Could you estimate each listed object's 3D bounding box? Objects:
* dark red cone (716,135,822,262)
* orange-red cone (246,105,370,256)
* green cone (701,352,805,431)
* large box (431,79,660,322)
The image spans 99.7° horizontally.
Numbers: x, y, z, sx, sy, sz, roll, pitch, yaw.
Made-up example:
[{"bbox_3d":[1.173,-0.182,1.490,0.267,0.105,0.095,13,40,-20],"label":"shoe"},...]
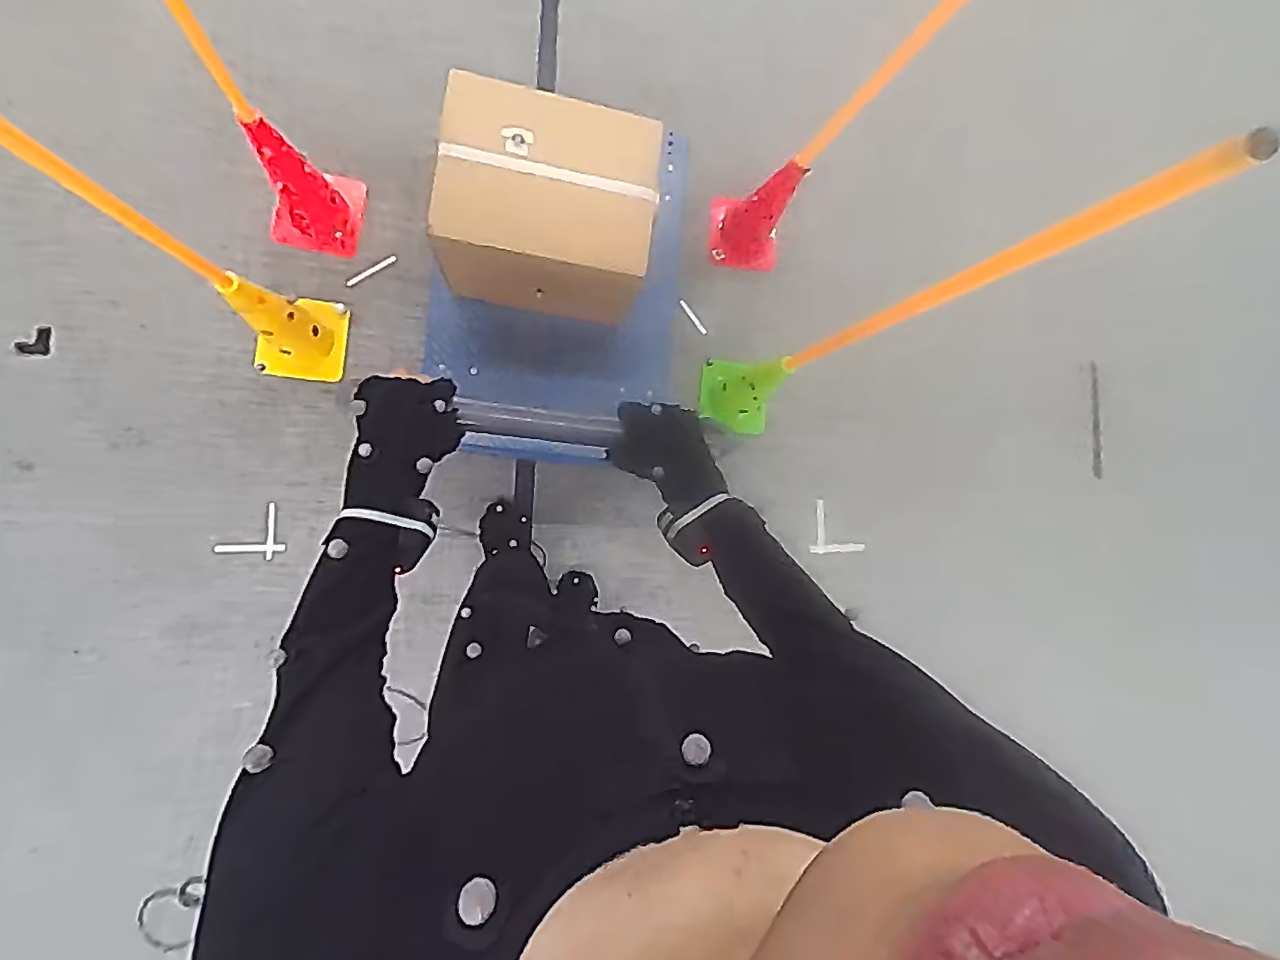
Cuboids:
[{"bbox_3d":[0.347,-0.739,1.392,0.201,0.394,0.202,2,87,-12],"label":"dark red cone"},{"bbox_3d":[-0.771,-0.693,1.207,0.198,0.360,0.199,10,84,-11],"label":"orange-red cone"},{"bbox_3d":[0.310,-0.255,1.380,0.202,0.368,0.200,6,86,-11],"label":"green cone"},{"bbox_3d":[-0.191,-0.559,1.160,0.408,0.320,0.320,7,87,-9],"label":"large box"}]
